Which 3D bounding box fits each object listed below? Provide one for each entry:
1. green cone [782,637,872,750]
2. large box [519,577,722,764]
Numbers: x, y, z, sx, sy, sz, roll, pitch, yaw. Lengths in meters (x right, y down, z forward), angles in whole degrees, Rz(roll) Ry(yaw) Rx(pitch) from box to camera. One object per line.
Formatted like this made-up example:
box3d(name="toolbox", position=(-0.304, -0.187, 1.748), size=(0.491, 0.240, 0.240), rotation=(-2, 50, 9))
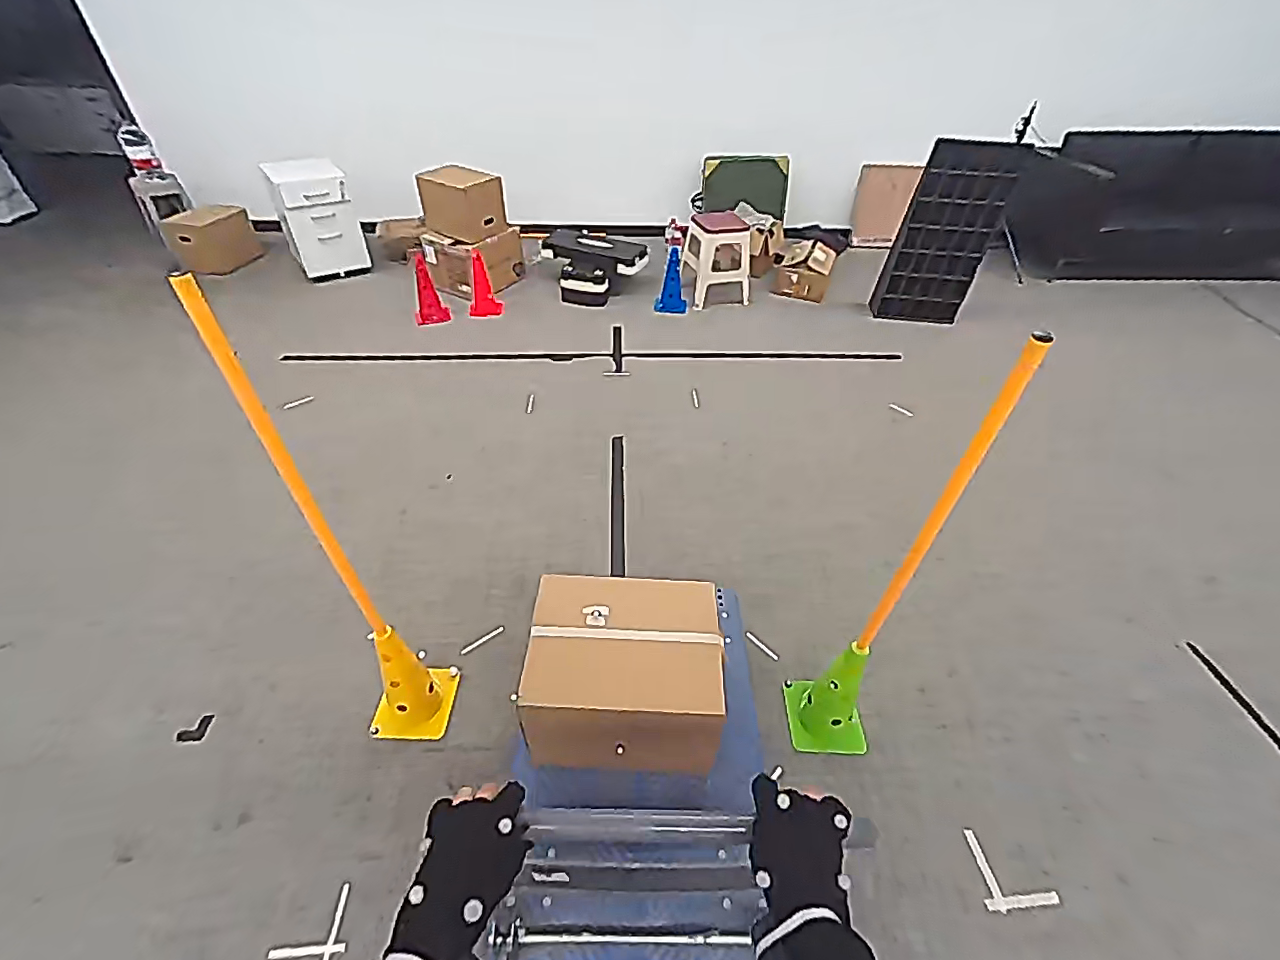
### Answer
box3d(name="green cone", position=(0.519, 0.527, 1.407), size=(0.202, 0.368, 0.200), rotation=(3, 42, -1))
box3d(name="large box", position=(-0.036, 0.445, 1.260), size=(0.408, 0.320, 0.320), rotation=(2, 43, 1))
